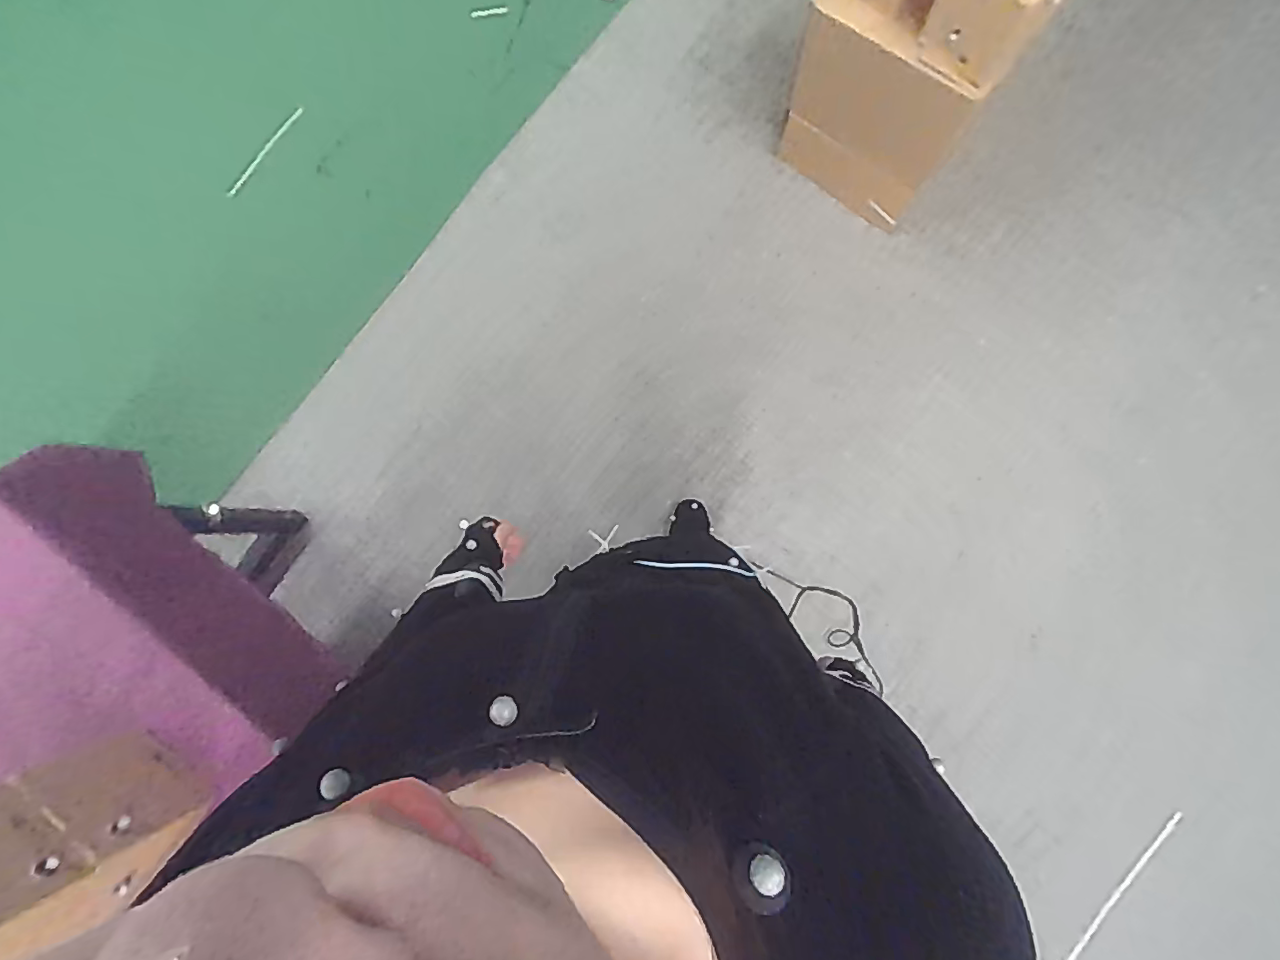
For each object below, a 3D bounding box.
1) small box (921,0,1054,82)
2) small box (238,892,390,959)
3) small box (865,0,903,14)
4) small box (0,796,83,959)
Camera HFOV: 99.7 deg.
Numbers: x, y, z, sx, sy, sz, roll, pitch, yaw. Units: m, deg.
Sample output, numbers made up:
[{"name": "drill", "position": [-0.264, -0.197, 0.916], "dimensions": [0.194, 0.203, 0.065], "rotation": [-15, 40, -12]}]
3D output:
[{"name": "small box", "position": [0.662, -0.902, 0.996], "dimensions": [0.179, 0.176, 0.168], "rotation": [-45, 81, 1]}, {"name": "small box", "position": [-0.460, 0.693, 0.684], "dimensions": [0.168, 0.176, 0.179], "rotation": [37, 89, 7]}, {"name": "small box", "position": [0.491, -1.059, 1.029], "dimensions": [0.168, 0.176, 0.179], "rotation": [40, 90, 6]}, {"name": "small box", "position": [-0.761, 0.484, 0.568], "dimensions": [0.168, 0.176, 0.179], "rotation": [35, 90, 8]}]
